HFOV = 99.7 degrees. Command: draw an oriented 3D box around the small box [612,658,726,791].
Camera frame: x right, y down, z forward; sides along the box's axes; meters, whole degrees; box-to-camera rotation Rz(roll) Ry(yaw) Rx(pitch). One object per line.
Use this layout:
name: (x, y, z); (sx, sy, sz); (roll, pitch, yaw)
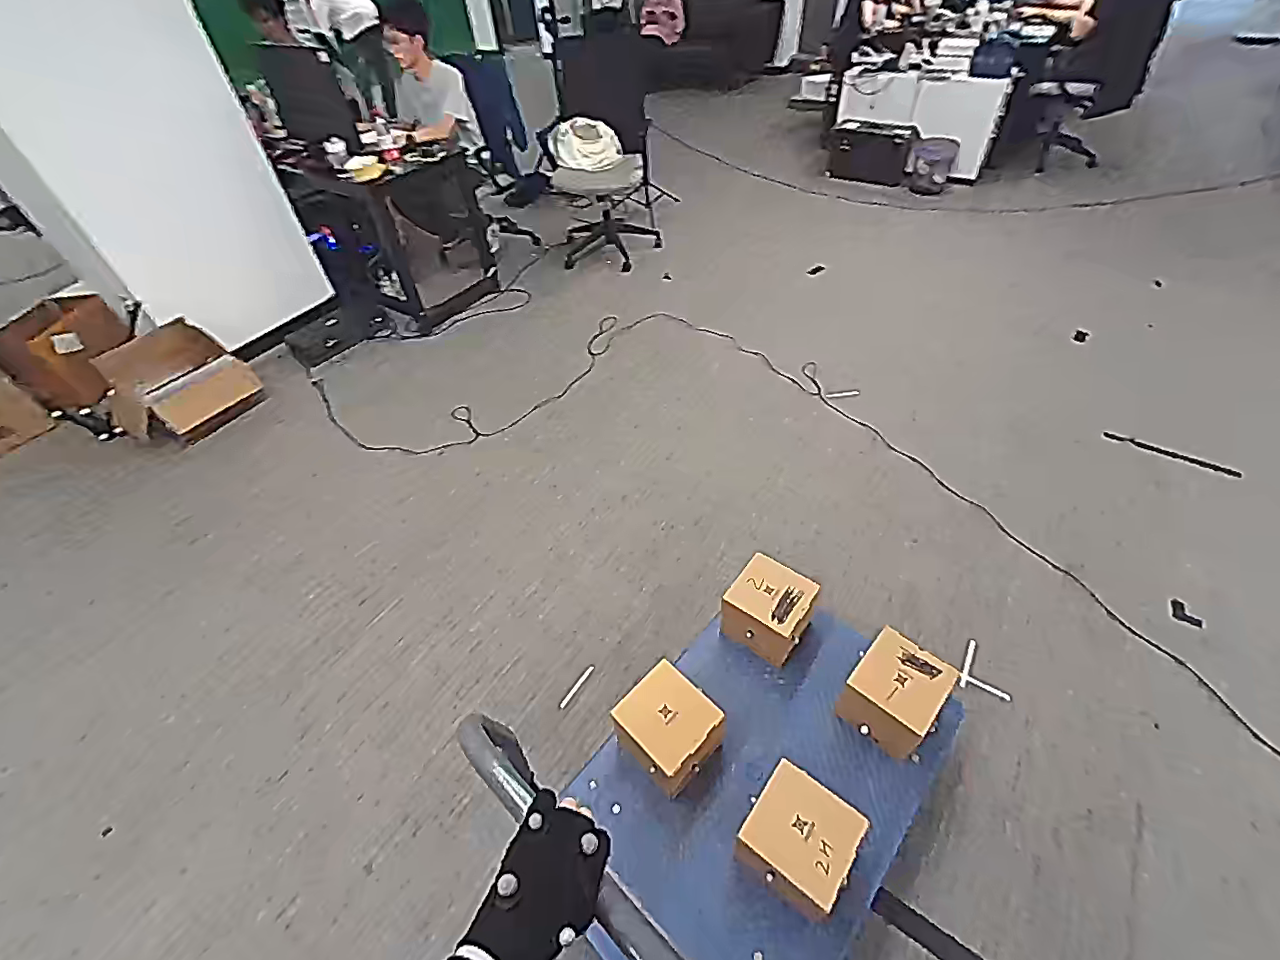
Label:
small box: (0.060, 0.527, 1.161); (0.168, 0.176, 0.179); (-36, 56, -27)

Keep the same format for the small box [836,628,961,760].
small box: (0.551, 0.467, 1.176); (0.168, 0.176, 0.179); (34, 59, 31)

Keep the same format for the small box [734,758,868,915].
small box: (0.291, 0.668, 1.009); (0.179, 0.176, 0.168); (30, 56, 28)
